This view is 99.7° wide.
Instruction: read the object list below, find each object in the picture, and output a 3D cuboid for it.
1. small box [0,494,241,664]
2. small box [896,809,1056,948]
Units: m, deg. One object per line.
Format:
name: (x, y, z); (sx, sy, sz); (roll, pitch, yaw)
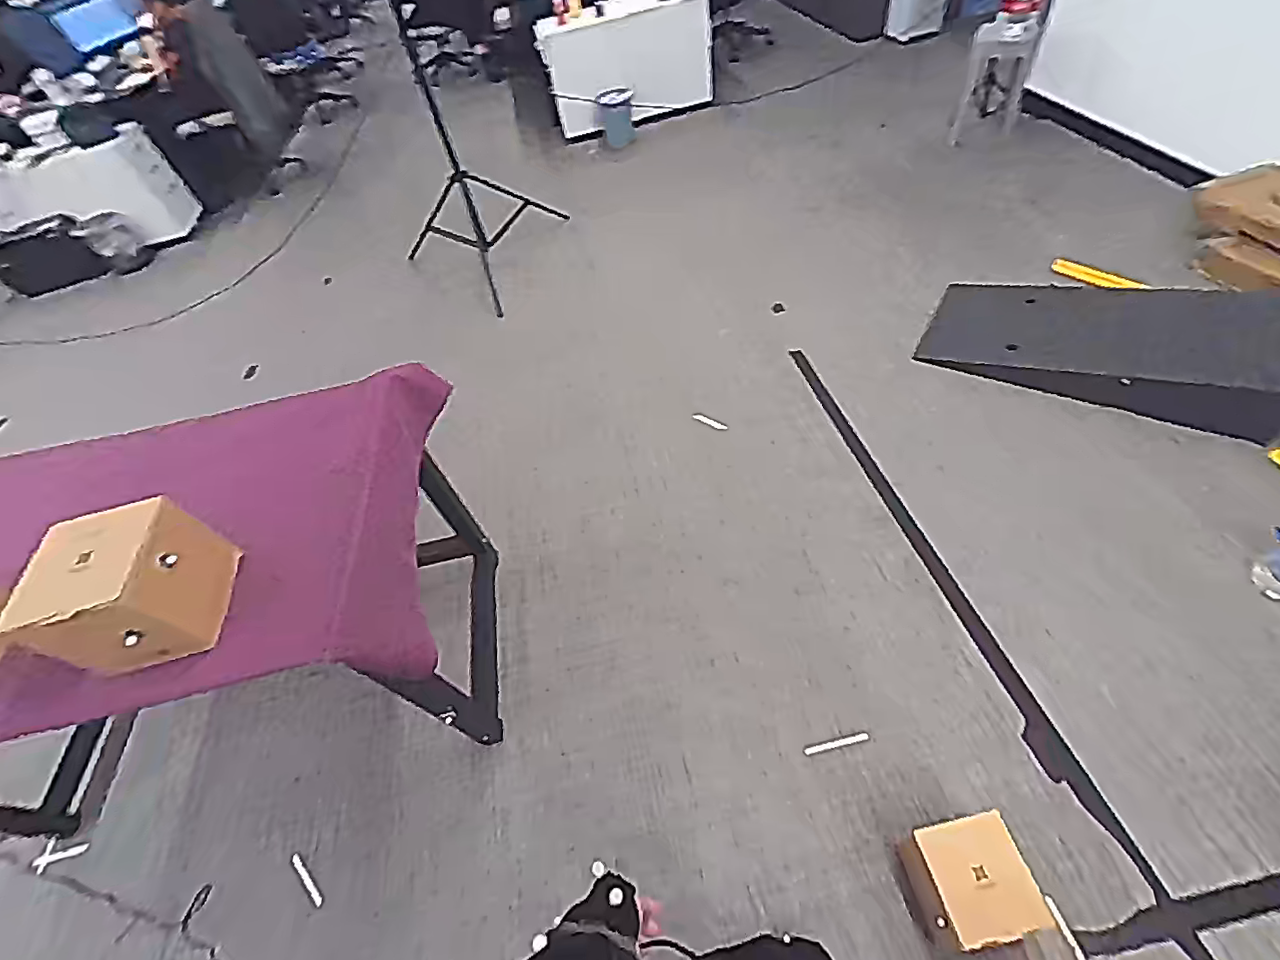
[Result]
small box: (-0.736, 0.153, 0.795); (0.168, 0.176, 0.179); (-15, 51, -2)
small box: (0.612, 0.747, 1.017); (0.168, 0.176, 0.179); (-14, 52, 0)
